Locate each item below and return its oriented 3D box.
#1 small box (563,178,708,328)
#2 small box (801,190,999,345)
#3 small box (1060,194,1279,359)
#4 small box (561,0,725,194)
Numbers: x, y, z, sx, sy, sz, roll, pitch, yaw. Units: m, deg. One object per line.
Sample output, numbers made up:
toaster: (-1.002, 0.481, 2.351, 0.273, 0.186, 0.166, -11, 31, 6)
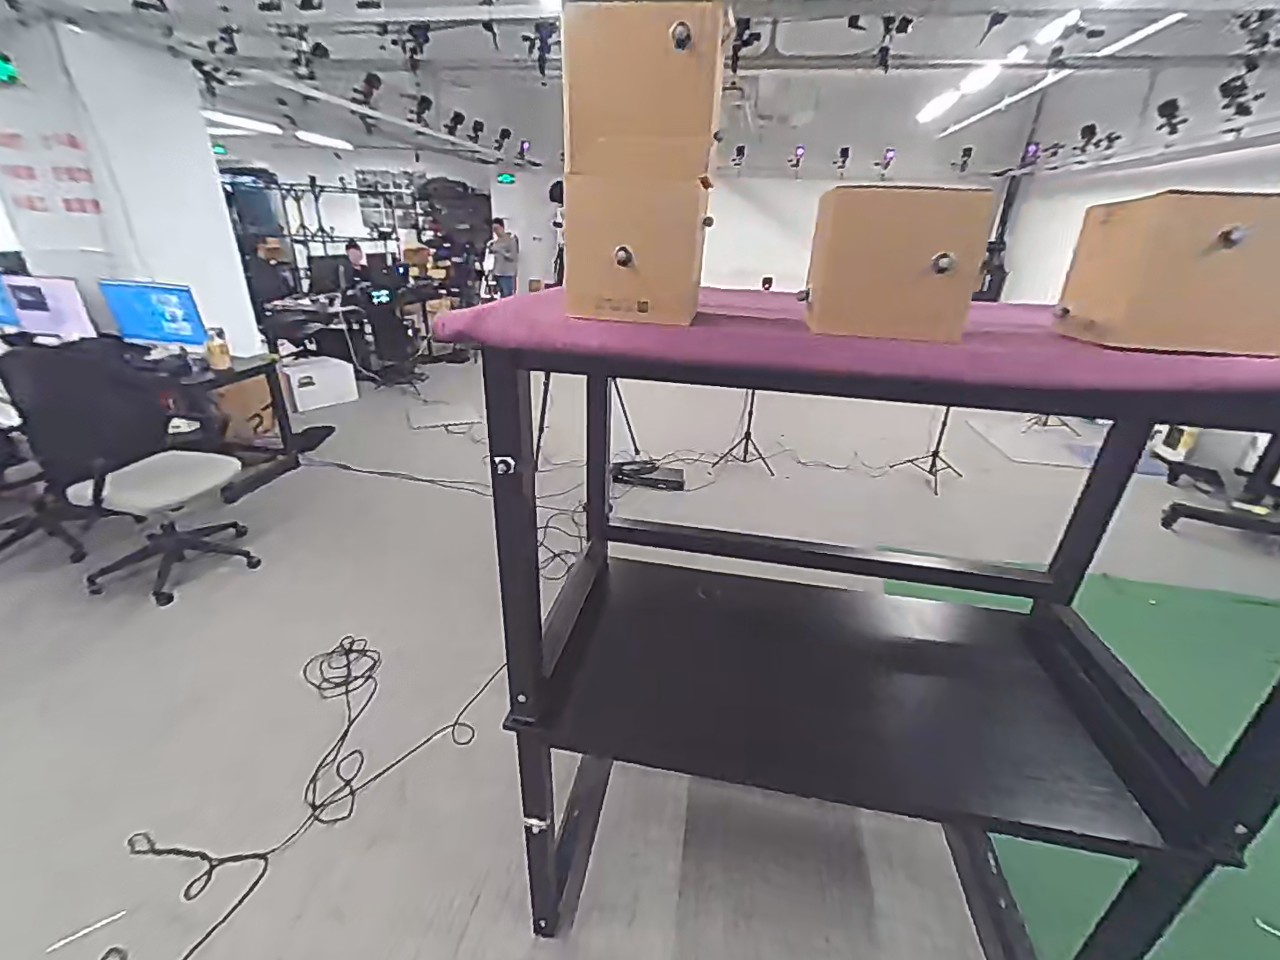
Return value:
small box: (0.000, -0.310, 0.740, 0.168, 0.176, 0.179, 7, 25, 7)
small box: (0.317, -0.274, 0.701, 0.179, 0.176, 0.168, 5, 24, 8)
small box: (0.663, -0.247, 0.669, 0.179, 0.176, 0.168, 7, 23, 10)
small box: (0.008, -0.456, 0.671, 0.179, 0.176, 0.168, 7, 26, 7)
